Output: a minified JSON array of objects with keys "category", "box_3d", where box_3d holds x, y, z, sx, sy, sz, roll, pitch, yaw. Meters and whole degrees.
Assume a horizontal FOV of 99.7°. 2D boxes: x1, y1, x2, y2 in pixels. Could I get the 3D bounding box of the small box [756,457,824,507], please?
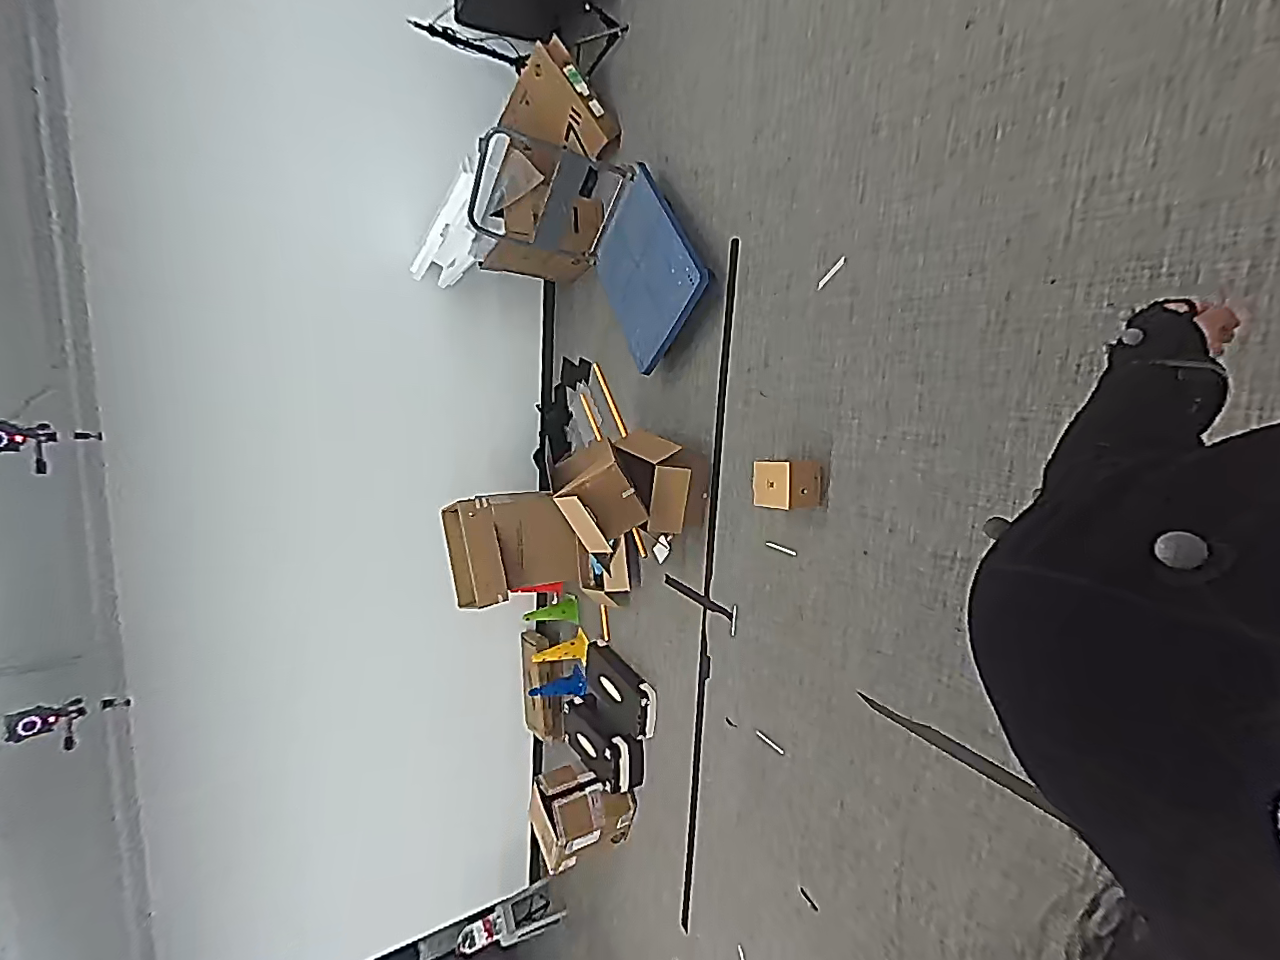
[{"category":"small box","box_3d":[0.541,0.002,1.945,0.179,0.176,0.168,5,97,59]}]
